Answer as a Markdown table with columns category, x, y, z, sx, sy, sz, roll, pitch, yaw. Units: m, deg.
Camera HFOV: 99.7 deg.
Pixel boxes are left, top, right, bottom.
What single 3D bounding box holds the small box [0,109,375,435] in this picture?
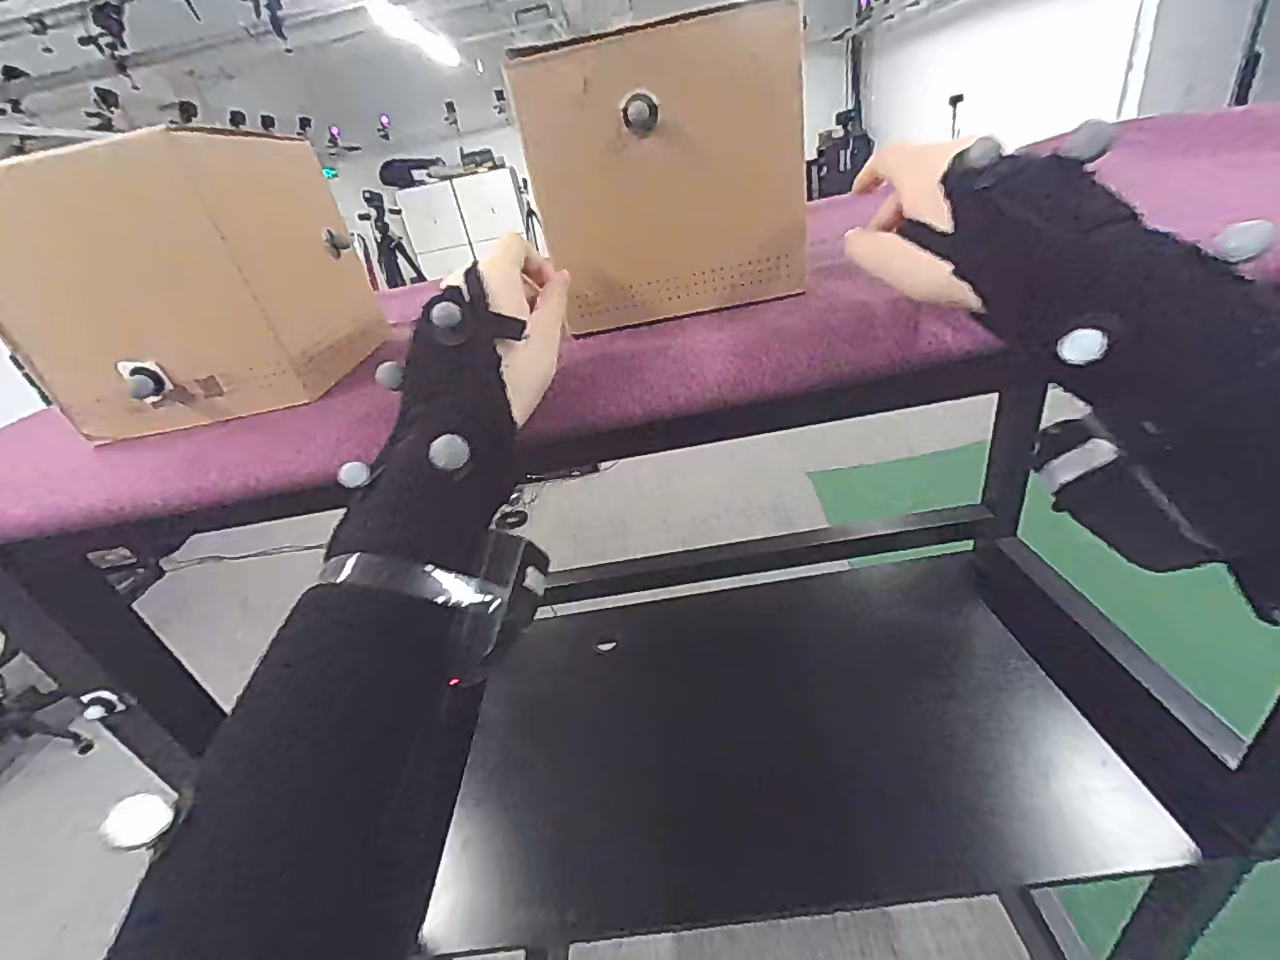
| category | x | y | z | sx | sy | sz | roll | pitch | yaw |
| --- | --- | --- | --- | --- | --- | --- | --- | --- | --- |
| small box | -0.328 | -0.153 | 0.402 | 0.168 | 0.176 | 0.179 | -13 | 31 | 2 |

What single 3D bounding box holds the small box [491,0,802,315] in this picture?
| category | x | y | z | sx | sy | sz | roll | pitch | yaw |
| --- | --- | --- | --- | --- | --- | --- | --- | --- | --- |
| small box | 0.013 | -0.233 | 0.409 | 0.179 | 0.176 | 0.168 | -9 | 29 | 5 |
